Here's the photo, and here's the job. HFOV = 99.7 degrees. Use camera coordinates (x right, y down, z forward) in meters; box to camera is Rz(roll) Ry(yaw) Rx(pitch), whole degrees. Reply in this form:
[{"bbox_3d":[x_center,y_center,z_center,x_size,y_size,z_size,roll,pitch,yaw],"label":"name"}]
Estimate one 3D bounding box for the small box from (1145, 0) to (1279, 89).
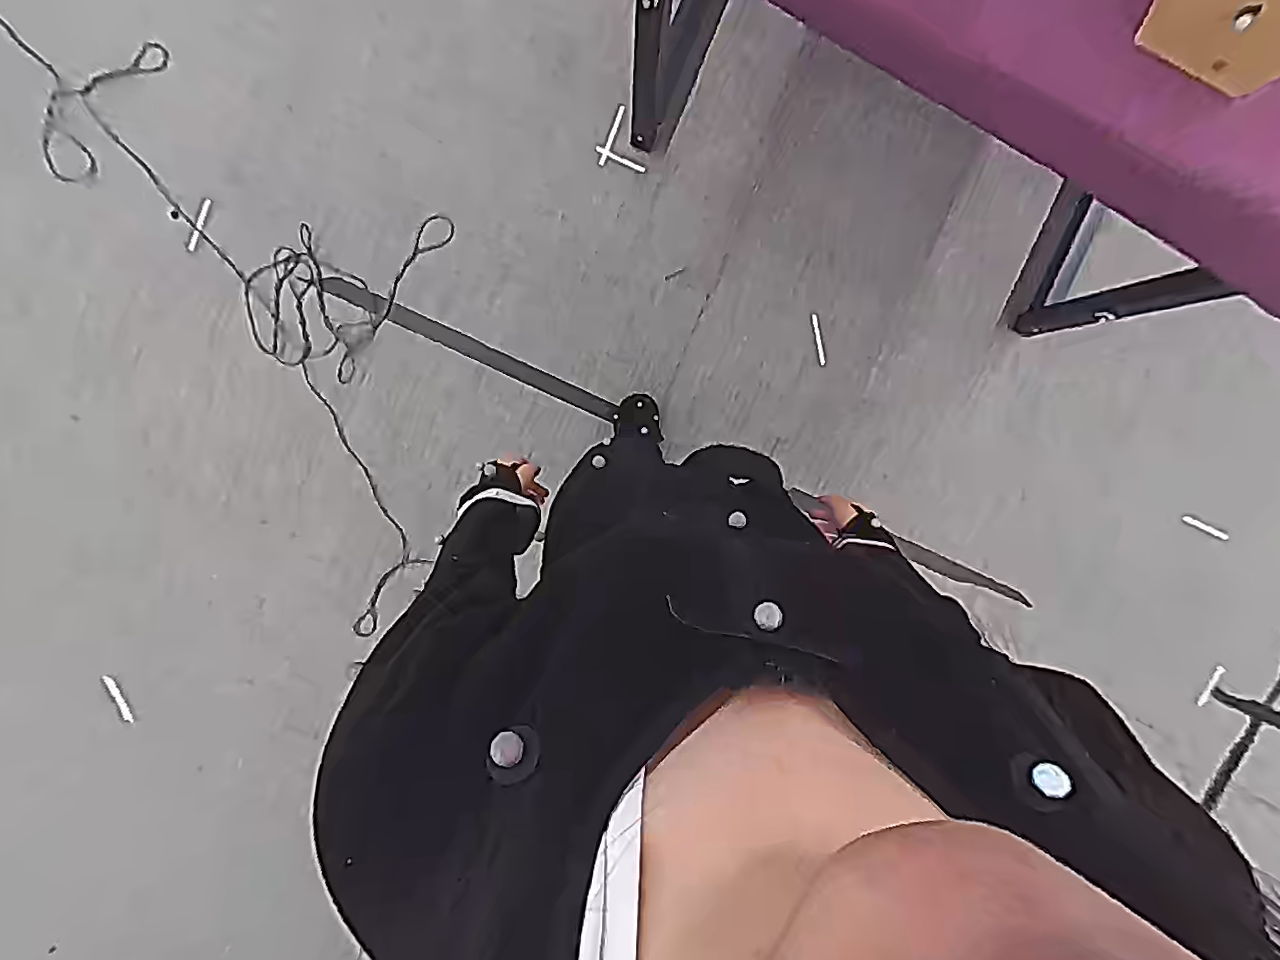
[{"bbox_3d":[0.759,-0.613,0.630,0.168,0.176,0.179,24,95,-4],"label":"small box"}]
